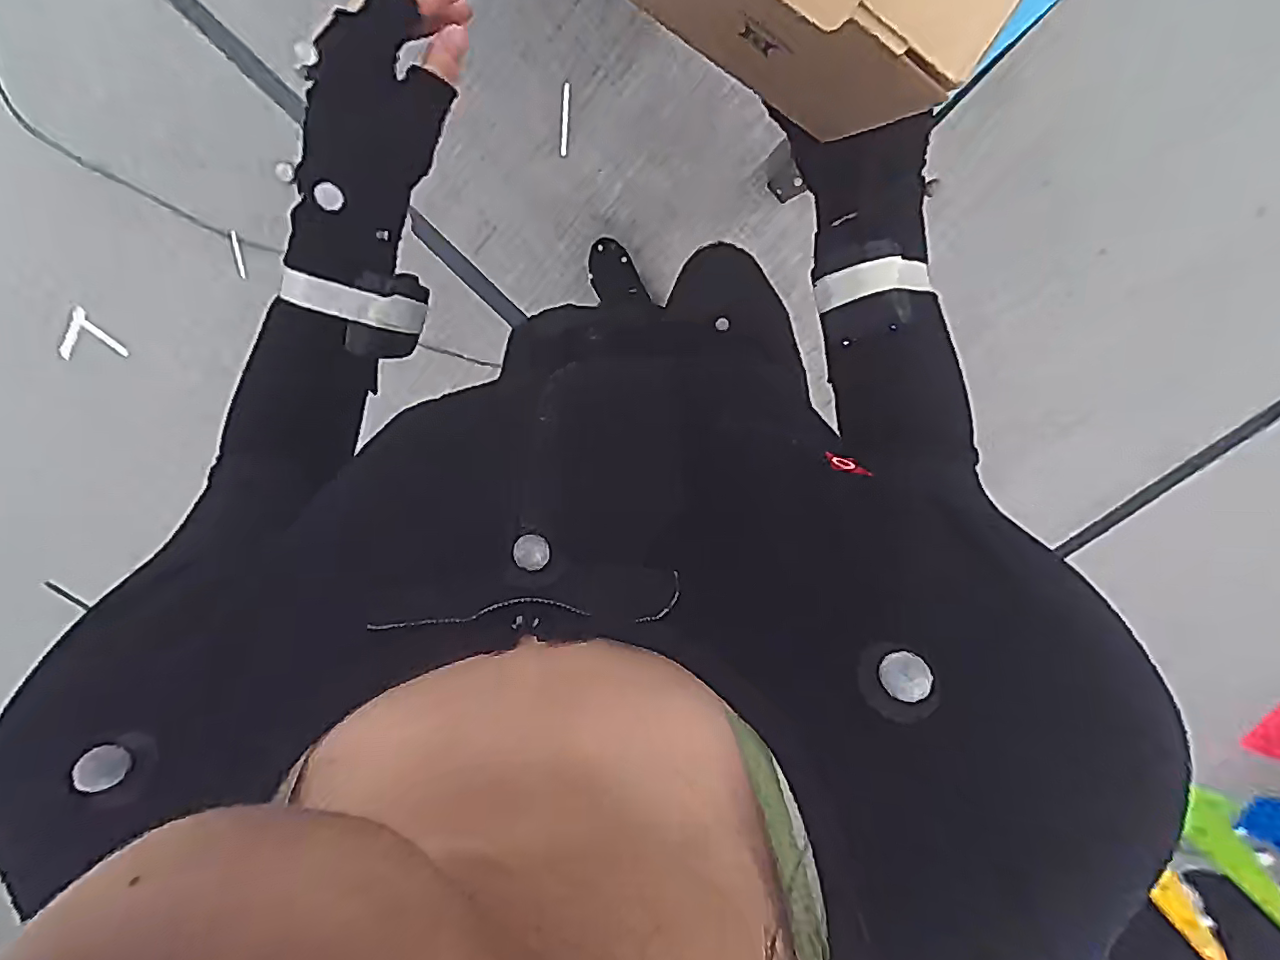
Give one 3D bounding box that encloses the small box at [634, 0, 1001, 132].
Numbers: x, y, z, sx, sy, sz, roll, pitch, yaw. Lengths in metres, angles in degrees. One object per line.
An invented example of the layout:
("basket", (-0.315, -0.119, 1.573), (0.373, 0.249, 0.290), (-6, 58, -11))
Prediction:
("small box", (0.102, -0.313, 0.264), (0.168, 0.179, 0.176), (27, 112, -15))
